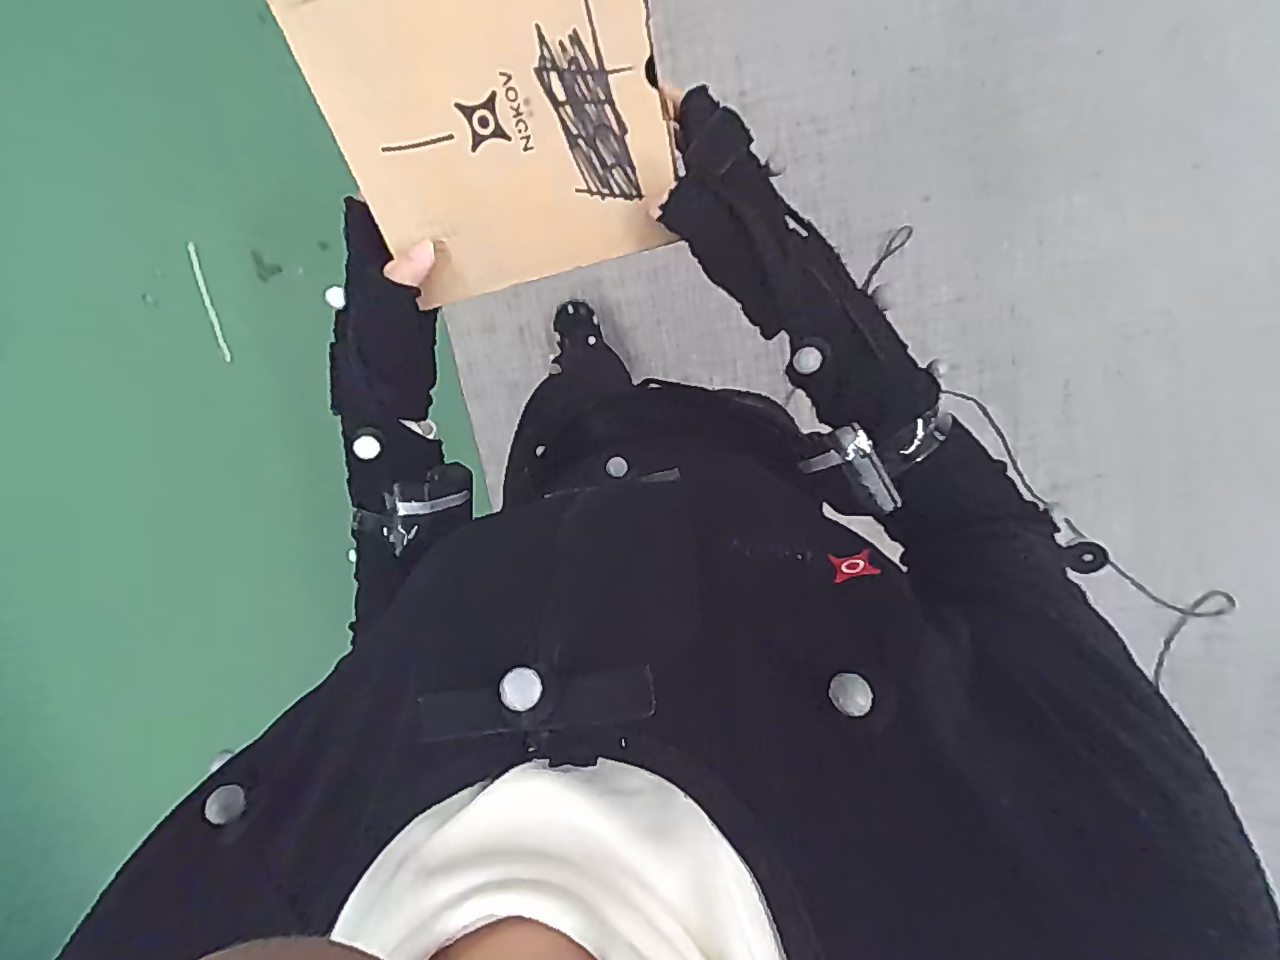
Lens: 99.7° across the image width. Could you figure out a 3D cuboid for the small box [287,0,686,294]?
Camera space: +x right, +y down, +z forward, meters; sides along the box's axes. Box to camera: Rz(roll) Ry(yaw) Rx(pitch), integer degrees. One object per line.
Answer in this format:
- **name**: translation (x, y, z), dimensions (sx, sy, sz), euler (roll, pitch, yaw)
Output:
- **small box**: translation (-0.076, -0.247, 0.358), dimensions (0.179, 0.176, 0.168), euler (-11, 125, 7)
